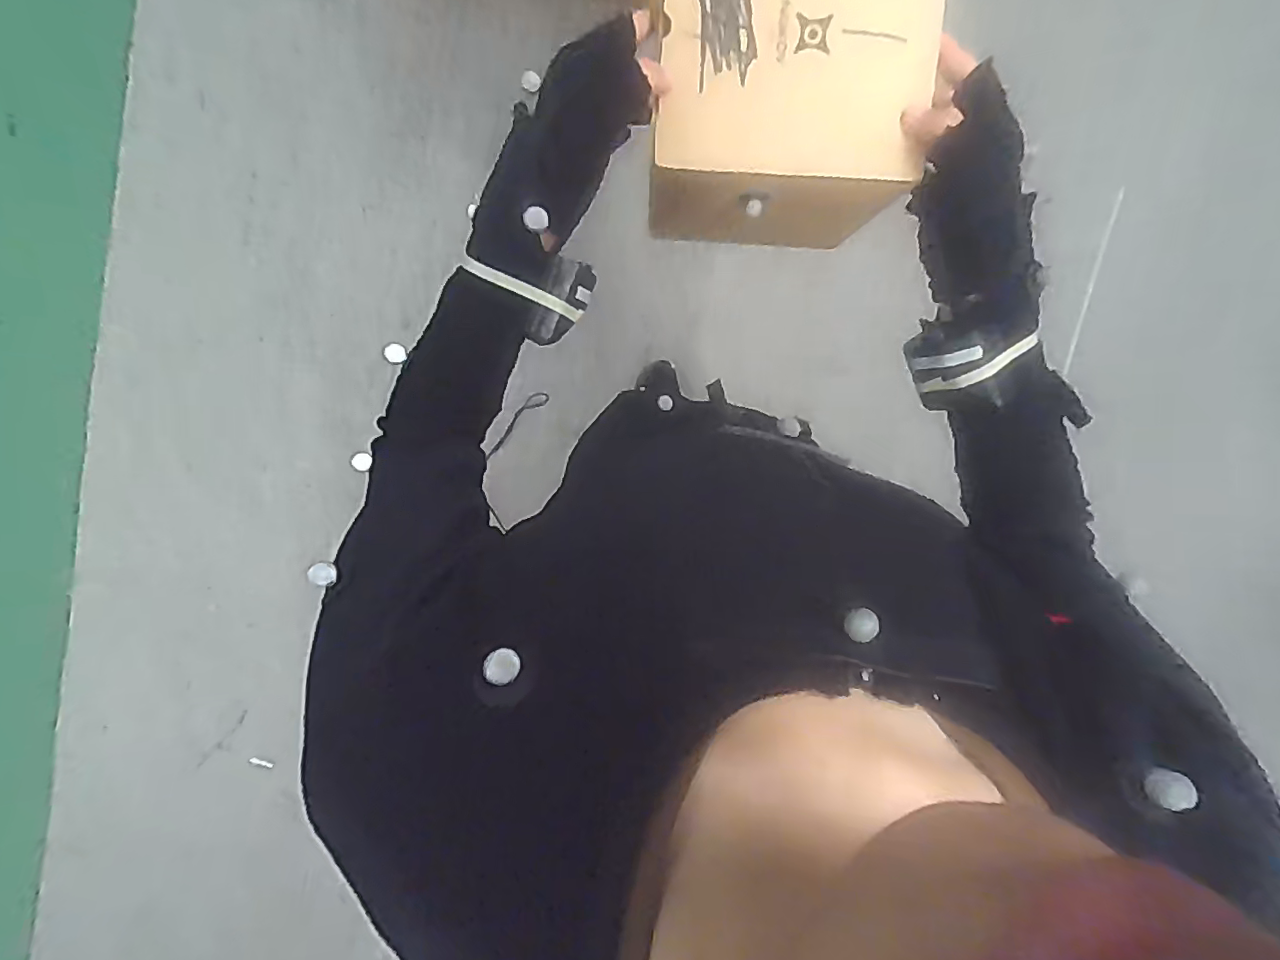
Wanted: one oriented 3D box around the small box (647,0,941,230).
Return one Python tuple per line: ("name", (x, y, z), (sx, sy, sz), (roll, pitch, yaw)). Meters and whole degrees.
("small box", (0.097, -0.300, 0.408), (0.179, 0.176, 0.168), (3, 100, -1))
